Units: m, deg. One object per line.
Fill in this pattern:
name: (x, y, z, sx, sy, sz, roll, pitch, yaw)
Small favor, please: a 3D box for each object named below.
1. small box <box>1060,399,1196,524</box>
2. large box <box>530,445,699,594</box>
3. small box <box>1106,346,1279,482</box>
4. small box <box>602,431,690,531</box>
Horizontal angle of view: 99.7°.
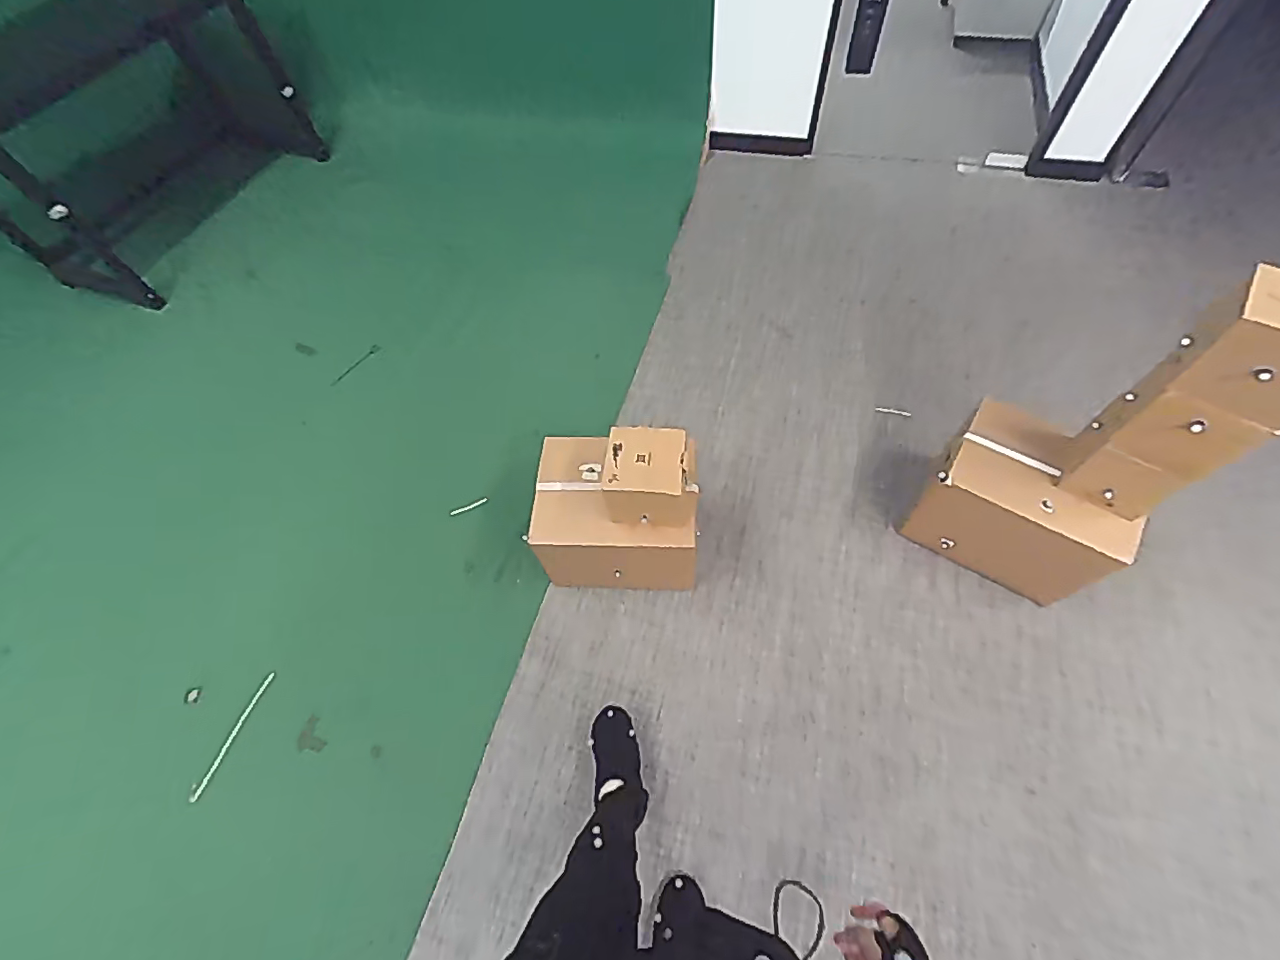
small box: (1.076, -0.038, 1.191, 0.168, 0.176, 0.179, 30, 64, 20)
large box: (-0.047, 0.117, 1.471, 0.408, 0.320, 0.320, 0, 58, 6)
small box: (1.075, -0.120, 1.051, 0.179, 0.176, 0.168, 31, 65, 21)
small box: (0.019, 0.007, 1.243, 0.179, 0.176, 0.168, 4, 60, 7)
